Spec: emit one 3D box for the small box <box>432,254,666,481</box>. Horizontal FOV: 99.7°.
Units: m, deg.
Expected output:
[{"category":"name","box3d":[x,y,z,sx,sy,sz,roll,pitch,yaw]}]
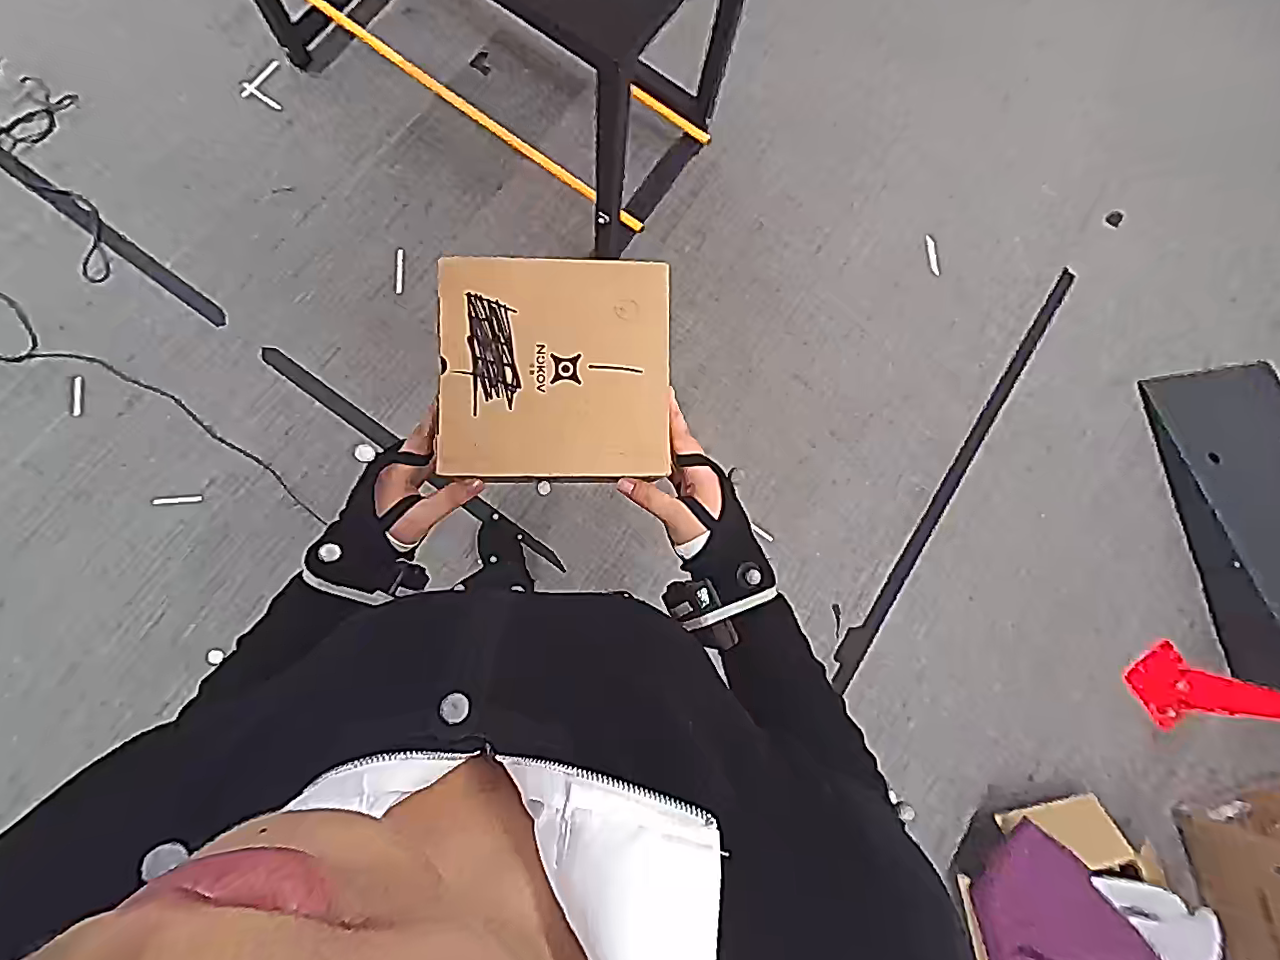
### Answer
[{"category":"small box","box3d":[-0.072,-0.084,0.485,0.179,0.176,0.168,0,89,-5]}]
